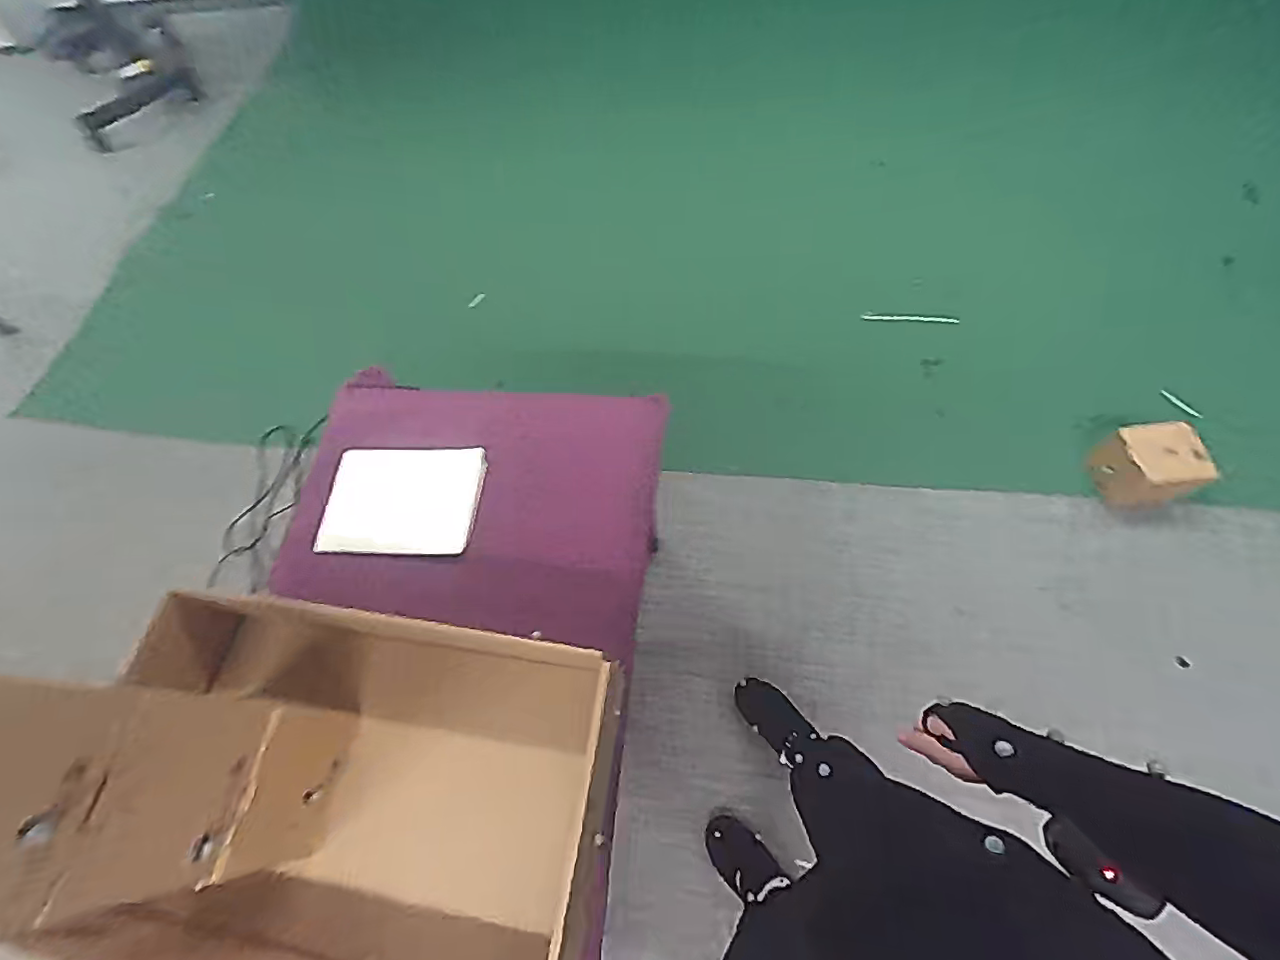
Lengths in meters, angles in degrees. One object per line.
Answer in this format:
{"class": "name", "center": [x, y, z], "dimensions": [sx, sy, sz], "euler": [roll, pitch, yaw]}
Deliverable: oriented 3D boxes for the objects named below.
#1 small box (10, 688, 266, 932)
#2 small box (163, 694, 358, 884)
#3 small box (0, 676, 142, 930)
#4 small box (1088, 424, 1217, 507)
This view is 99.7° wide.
{"class": "small box", "center": [-0.513, 0.294, 0.517], "dimensions": [0.179, 0.176, 0.168], "euler": [3, 63, 7]}
{"class": "small box", "center": [-0.492, 0.368, 0.662], "dimensions": [0.179, 0.176, 0.168], "euler": [4, 64, 7]}
{"class": "small box", "center": [-0.526, 0.220, 0.373], "dimensions": [0.179, 0.176, 0.168], "euler": [4, 64, 6]}
{"class": "small box", "center": [1.395, -0.033, 1.494], "dimensions": [0.179, 0.176, 0.168], "euler": [-6, 64, 4]}
